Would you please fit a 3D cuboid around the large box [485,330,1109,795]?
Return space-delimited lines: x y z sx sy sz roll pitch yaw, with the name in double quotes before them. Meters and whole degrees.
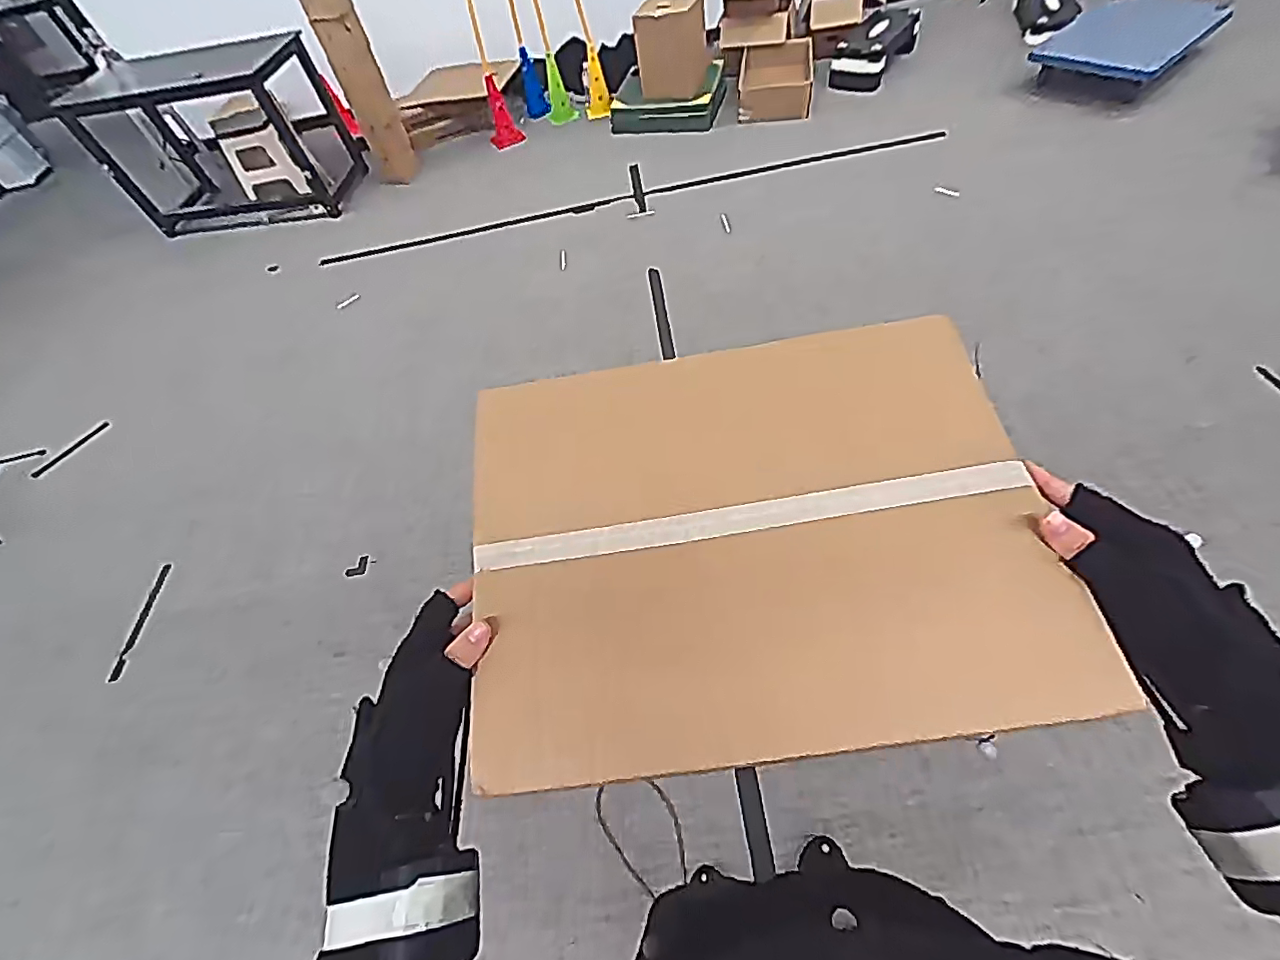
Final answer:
"large box" 0.095 0.100 0.538 0.408 0.320 0.320 -9 62 2
